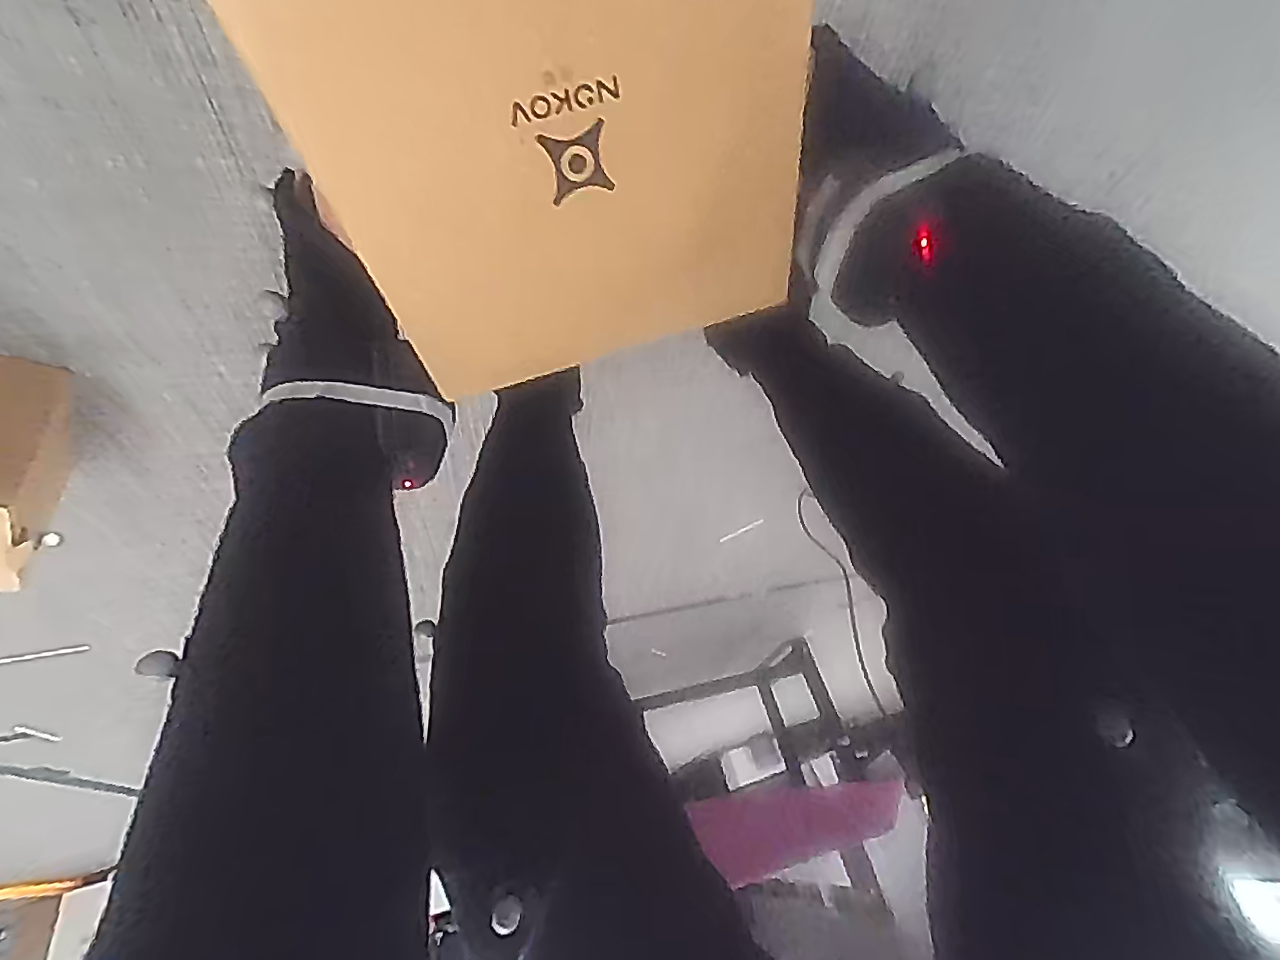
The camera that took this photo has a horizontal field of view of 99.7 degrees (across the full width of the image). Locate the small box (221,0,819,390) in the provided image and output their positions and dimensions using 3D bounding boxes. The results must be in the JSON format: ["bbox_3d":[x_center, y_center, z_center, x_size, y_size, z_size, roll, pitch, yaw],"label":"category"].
[{"bbox_3d":[-0.041,-0.174,0.228,0.168,0.176,0.179,-18,142,-3],"label":"small box"}]
